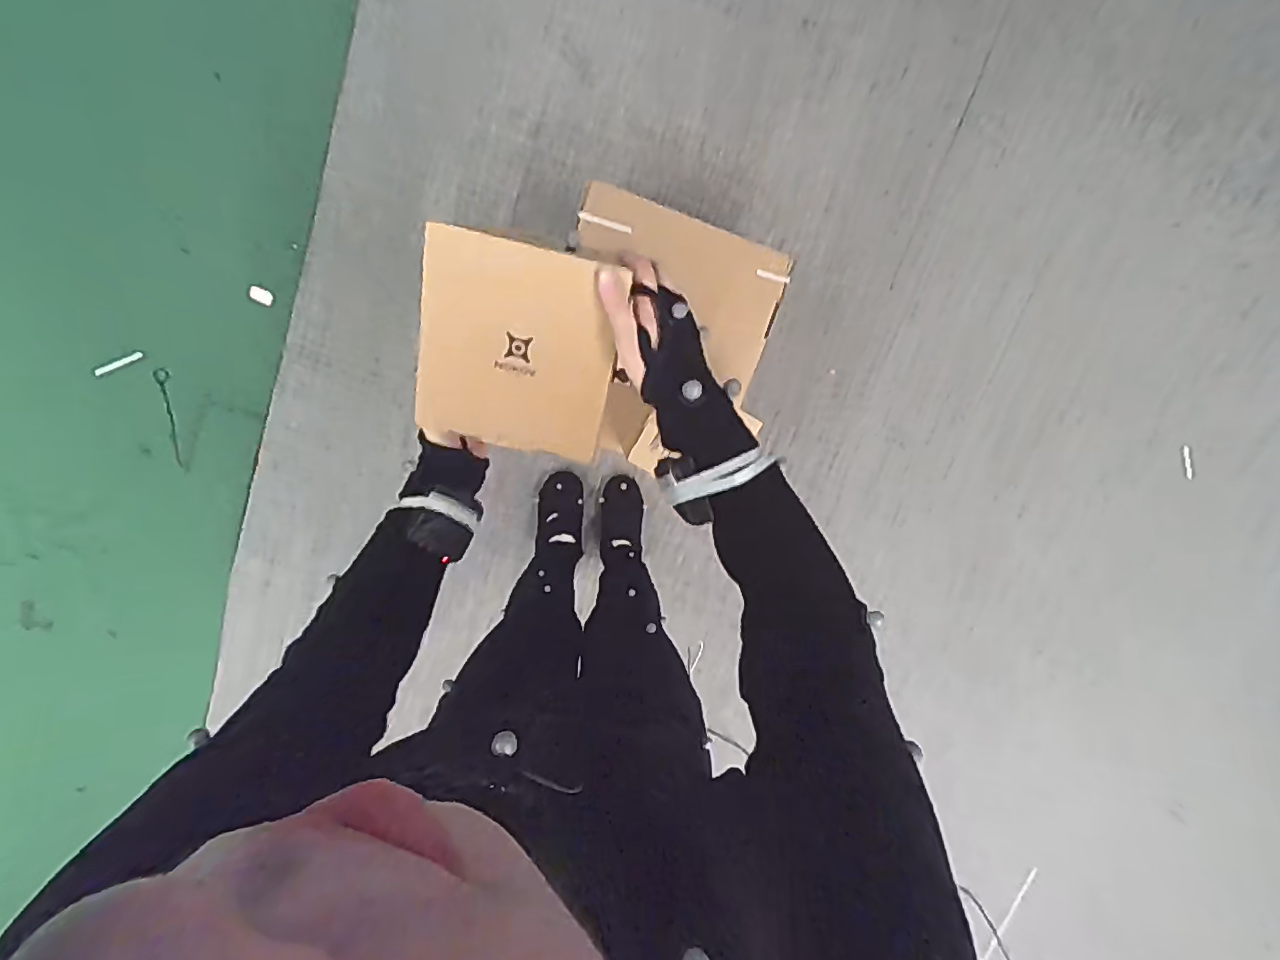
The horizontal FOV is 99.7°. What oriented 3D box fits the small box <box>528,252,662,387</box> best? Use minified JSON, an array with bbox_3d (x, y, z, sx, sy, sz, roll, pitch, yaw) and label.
[{"bbox_3d":[-0.076,-0.268,0.934,0.179,0.176,0.168,17,98,-6],"label":"small box"}]
